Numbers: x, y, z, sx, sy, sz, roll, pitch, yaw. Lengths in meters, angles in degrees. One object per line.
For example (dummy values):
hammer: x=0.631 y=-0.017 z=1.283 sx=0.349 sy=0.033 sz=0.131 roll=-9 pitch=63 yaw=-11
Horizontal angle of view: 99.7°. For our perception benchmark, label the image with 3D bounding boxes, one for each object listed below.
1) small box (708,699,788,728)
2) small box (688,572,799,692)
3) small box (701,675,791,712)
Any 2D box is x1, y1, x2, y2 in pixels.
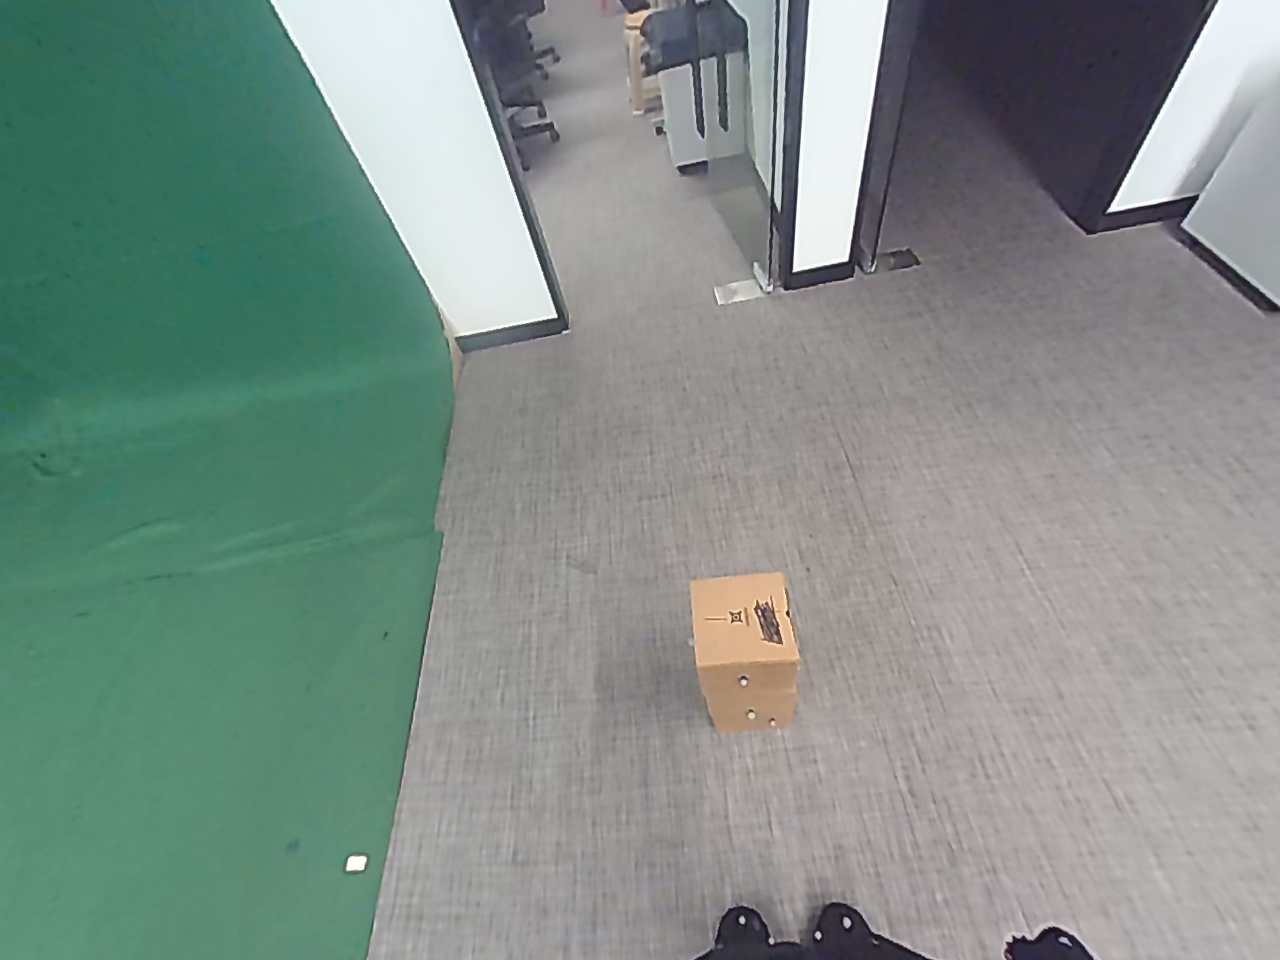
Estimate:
small box: x=0.246 y=0.482 z=1.290 sx=0.179 sy=0.176 sz=0.168 roll=-9 pitch=52 yaw=7
small box: x=0.189 y=0.293 z=1.028 sx=0.179 sy=0.176 sz=0.168 roll=-7 pitch=53 yaw=5
small box: x=0.219 y=0.390 z=1.157 sx=0.179 sy=0.176 sz=0.168 roll=-4 pitch=53 yaw=8
